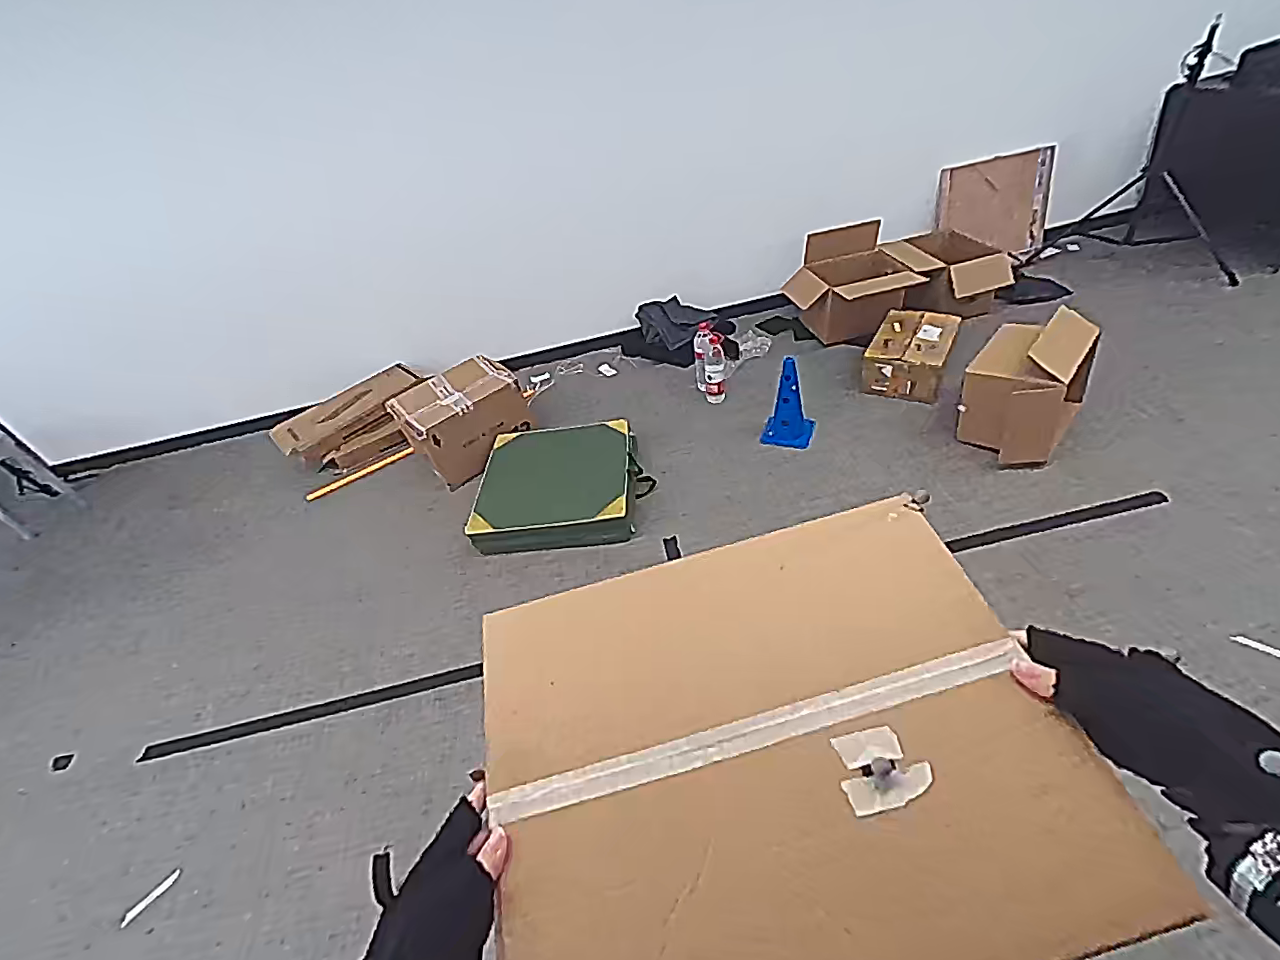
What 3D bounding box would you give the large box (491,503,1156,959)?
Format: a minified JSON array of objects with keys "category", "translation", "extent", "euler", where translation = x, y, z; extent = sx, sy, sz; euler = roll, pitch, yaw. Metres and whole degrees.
[{"category":"large box","translation":[0.108,0.280,0.523],"extent":[0.408,0.320,0.320],"euler":[-16,51,-2]}]
